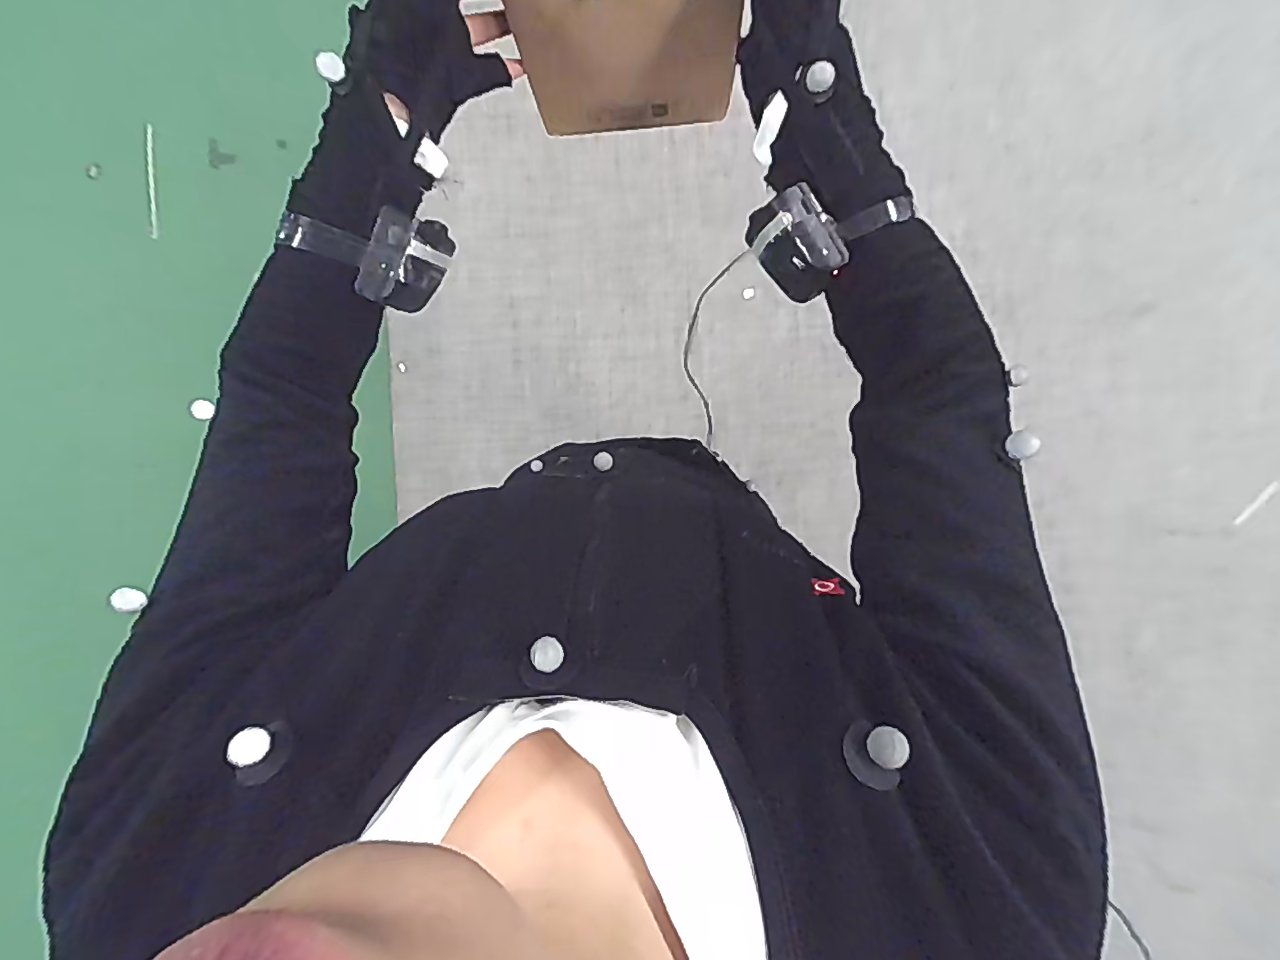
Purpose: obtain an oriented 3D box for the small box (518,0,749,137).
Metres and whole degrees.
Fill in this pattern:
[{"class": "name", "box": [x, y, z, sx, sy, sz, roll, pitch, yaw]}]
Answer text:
[{"class": "small box", "box": [-0.007, -0.408, 0.417, 0.168, 0.176, 0.179, -3, 85, 4]}]
